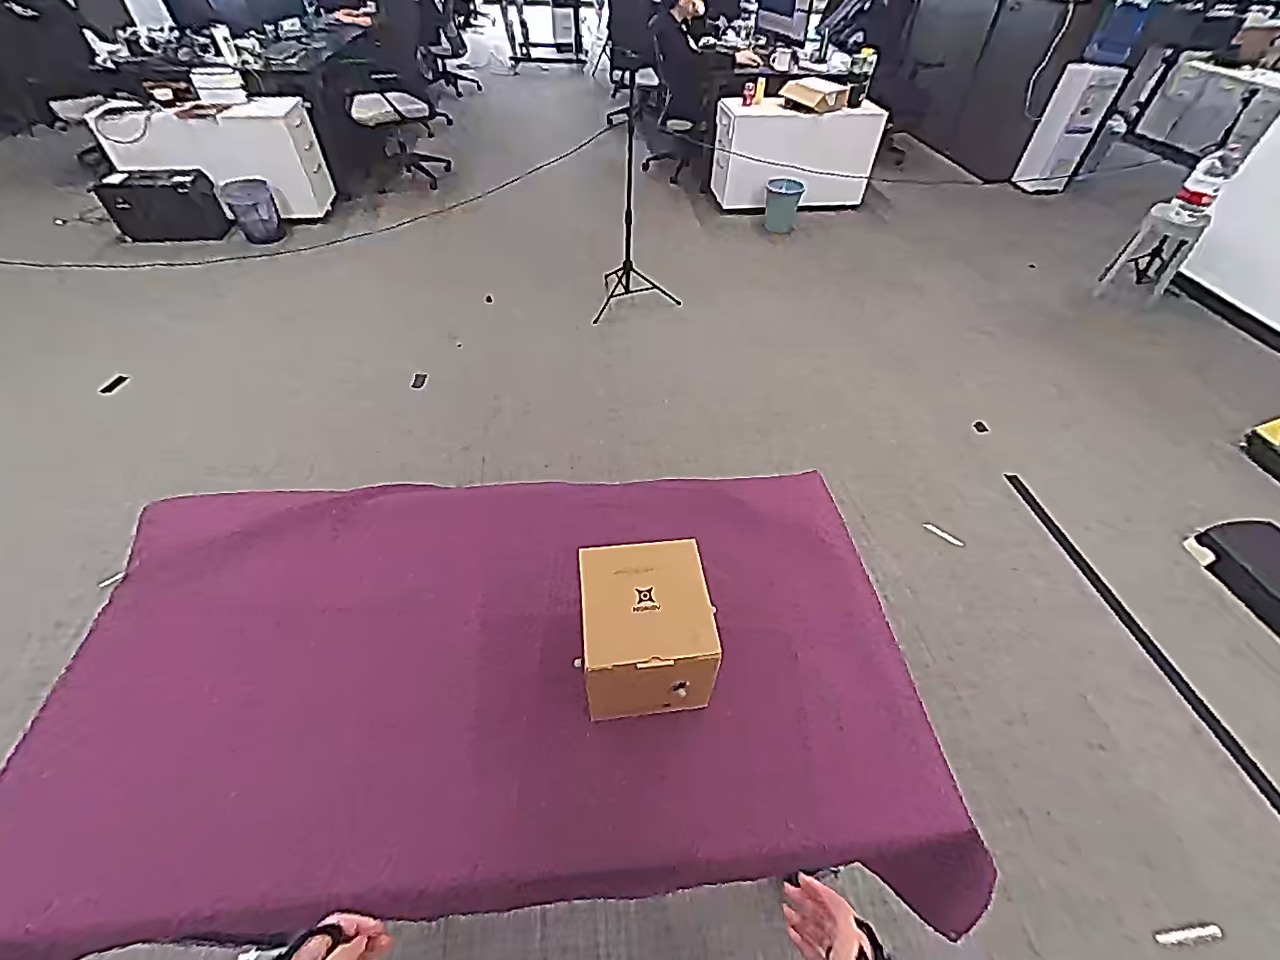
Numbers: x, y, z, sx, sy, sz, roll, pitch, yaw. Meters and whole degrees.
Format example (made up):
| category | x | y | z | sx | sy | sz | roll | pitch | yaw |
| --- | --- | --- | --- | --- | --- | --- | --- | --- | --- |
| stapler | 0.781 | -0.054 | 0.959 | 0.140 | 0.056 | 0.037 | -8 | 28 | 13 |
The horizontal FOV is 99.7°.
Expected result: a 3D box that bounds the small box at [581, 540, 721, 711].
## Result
| category | x | y | z | sx | sy | sz | roll | pitch | yaw |
| --- | --- | --- | --- | --- | --- | --- | --- | --- | --- |
| small box | 0.007 | 0.206 | 0.752 | 0.168 | 0.176 | 0.179 | -3 | 47 | -6 |
